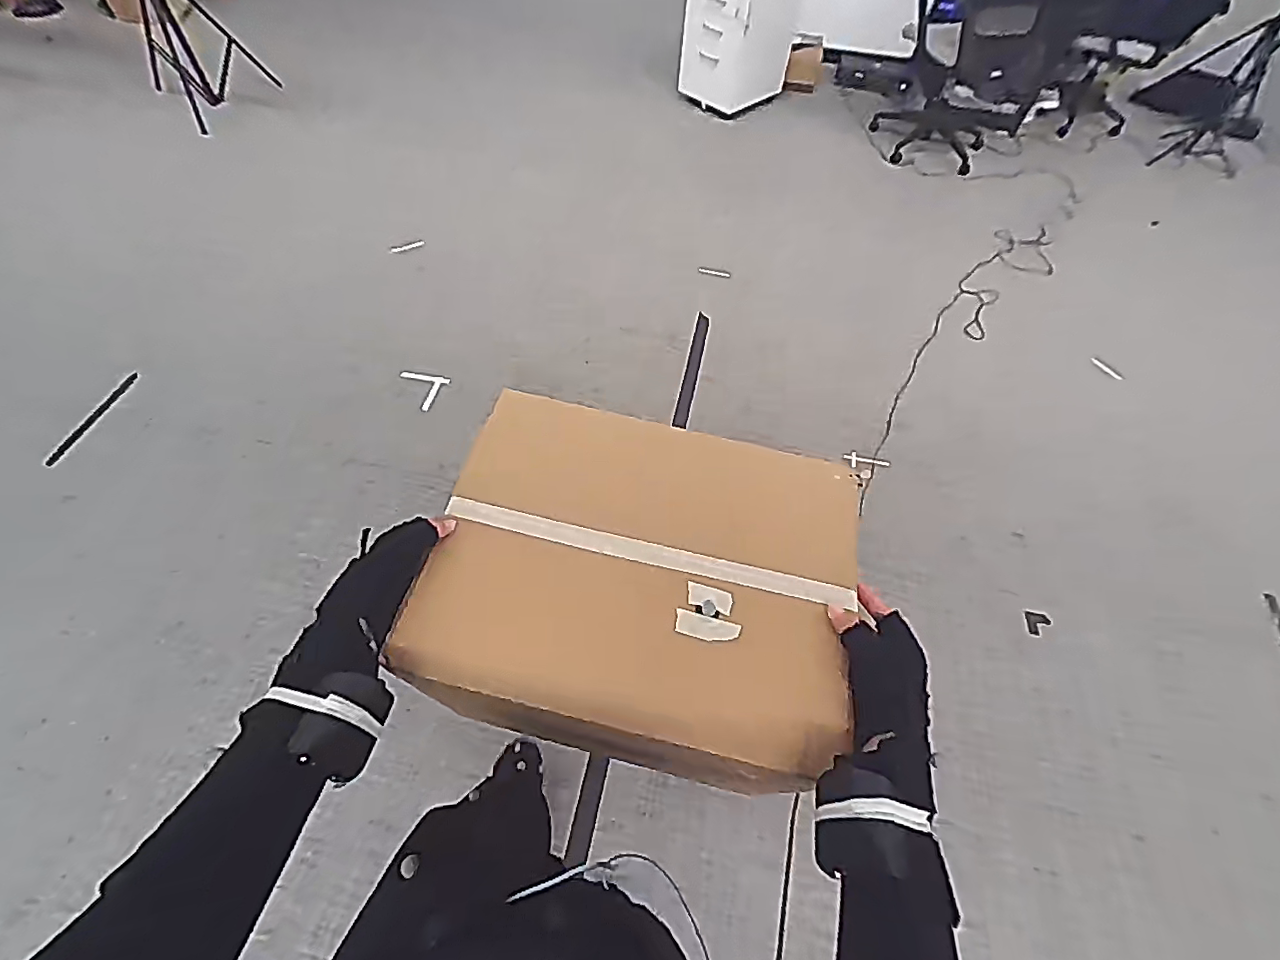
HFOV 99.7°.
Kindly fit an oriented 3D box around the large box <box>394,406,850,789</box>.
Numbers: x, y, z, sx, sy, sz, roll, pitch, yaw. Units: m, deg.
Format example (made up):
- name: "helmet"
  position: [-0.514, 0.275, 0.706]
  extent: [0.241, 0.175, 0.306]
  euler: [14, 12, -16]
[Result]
- name: "large box"
  position: [-0.004, 0.157, 0.659]
  extent: [0.408, 0.320, 0.320]
  euler: [13, 60, 2]
